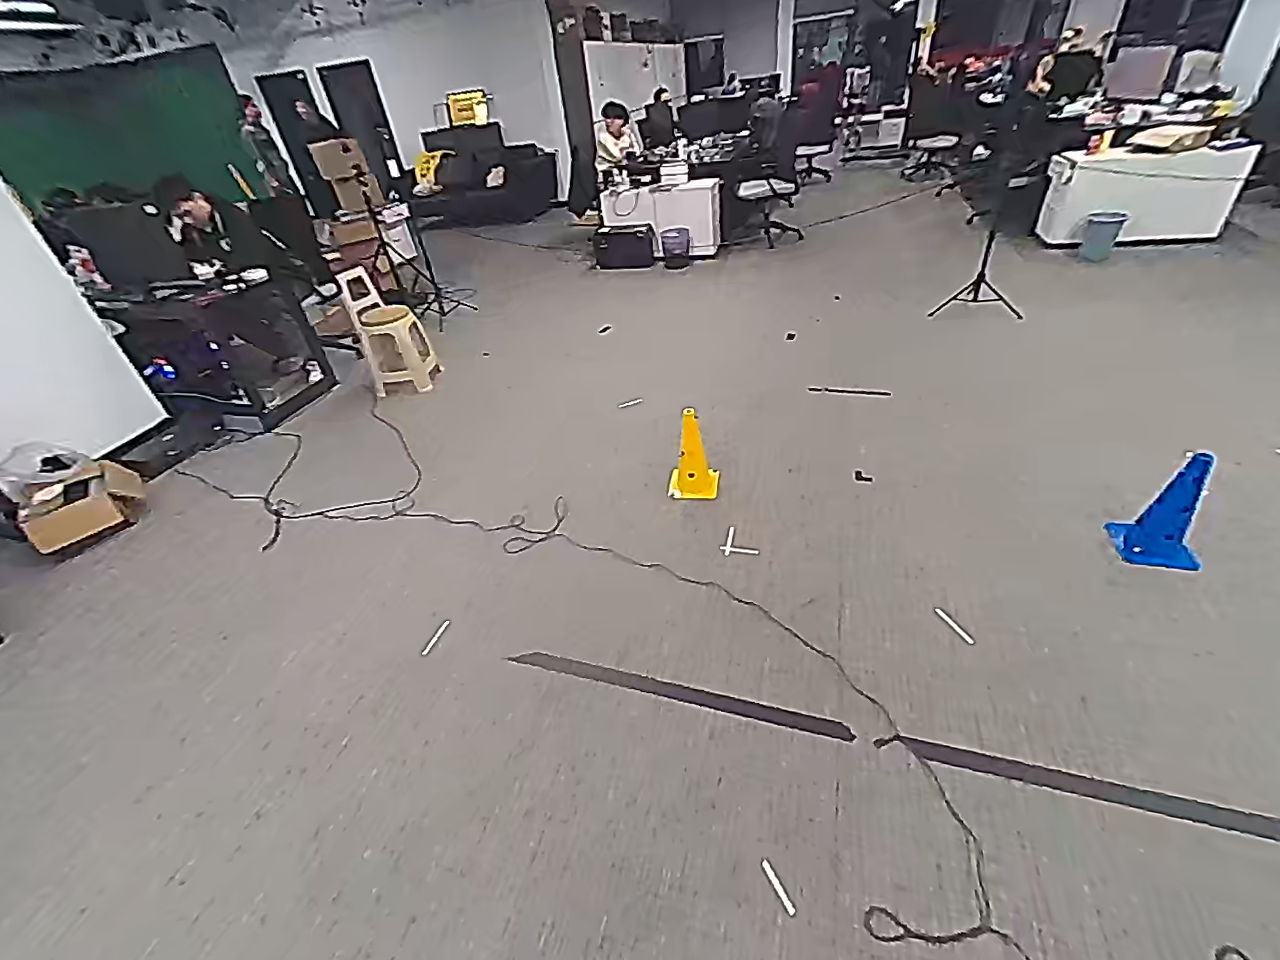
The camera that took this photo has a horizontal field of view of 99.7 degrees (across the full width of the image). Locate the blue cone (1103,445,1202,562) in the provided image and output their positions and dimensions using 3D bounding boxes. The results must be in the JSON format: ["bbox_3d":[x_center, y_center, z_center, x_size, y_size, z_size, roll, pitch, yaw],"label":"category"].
[{"bbox_3d":[1.639,0.063,1.679,0.193,0.380,0.192,6,37,18],"label":"blue cone"}]
